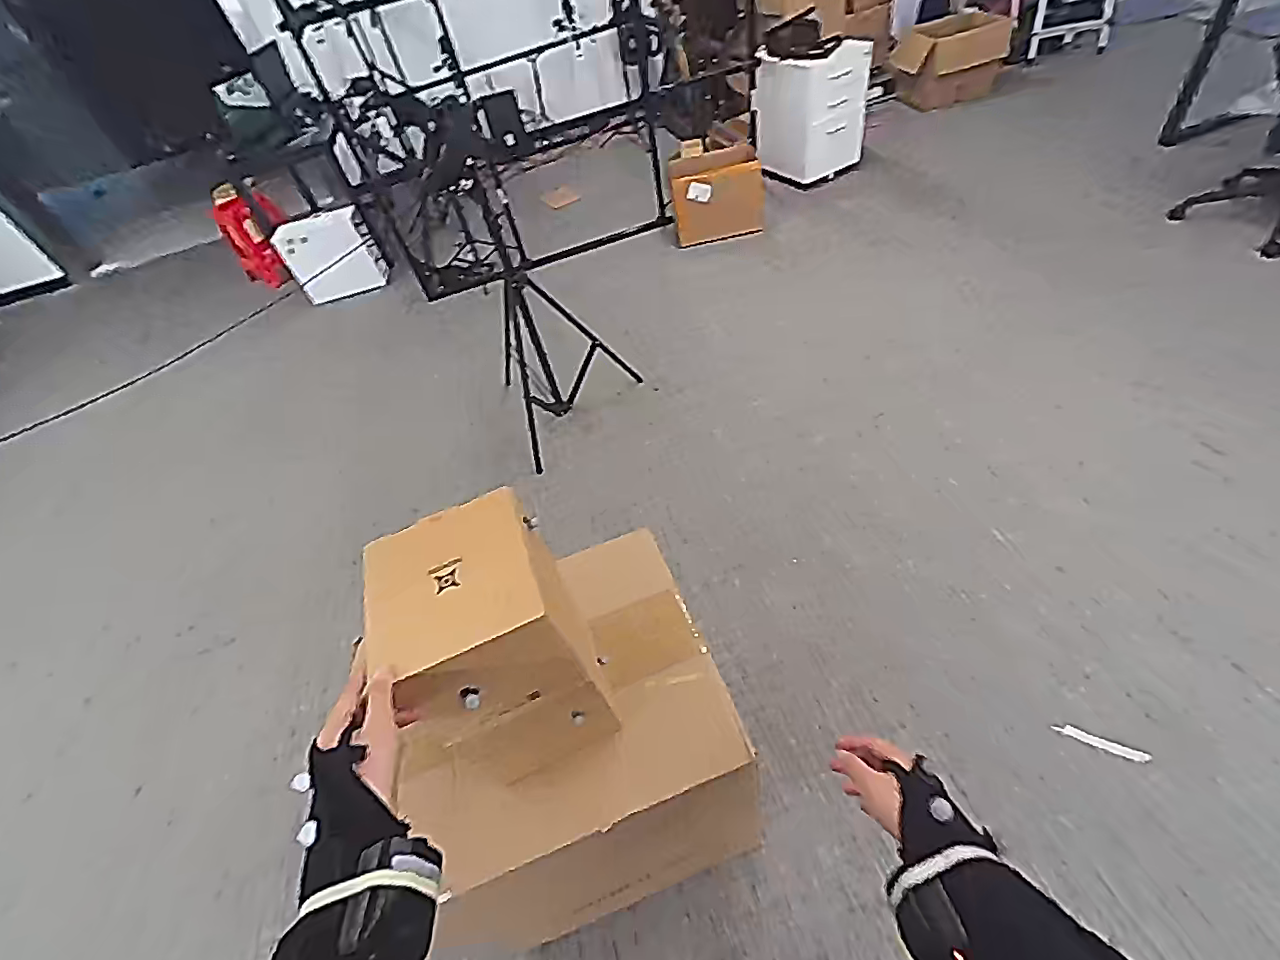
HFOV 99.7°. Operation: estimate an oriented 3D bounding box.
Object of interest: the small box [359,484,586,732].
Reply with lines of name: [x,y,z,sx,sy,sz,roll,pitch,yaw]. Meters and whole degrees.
small box: [-0.172,0.142,0.574,0.168,0.176,0.179,-24,48,-6]
